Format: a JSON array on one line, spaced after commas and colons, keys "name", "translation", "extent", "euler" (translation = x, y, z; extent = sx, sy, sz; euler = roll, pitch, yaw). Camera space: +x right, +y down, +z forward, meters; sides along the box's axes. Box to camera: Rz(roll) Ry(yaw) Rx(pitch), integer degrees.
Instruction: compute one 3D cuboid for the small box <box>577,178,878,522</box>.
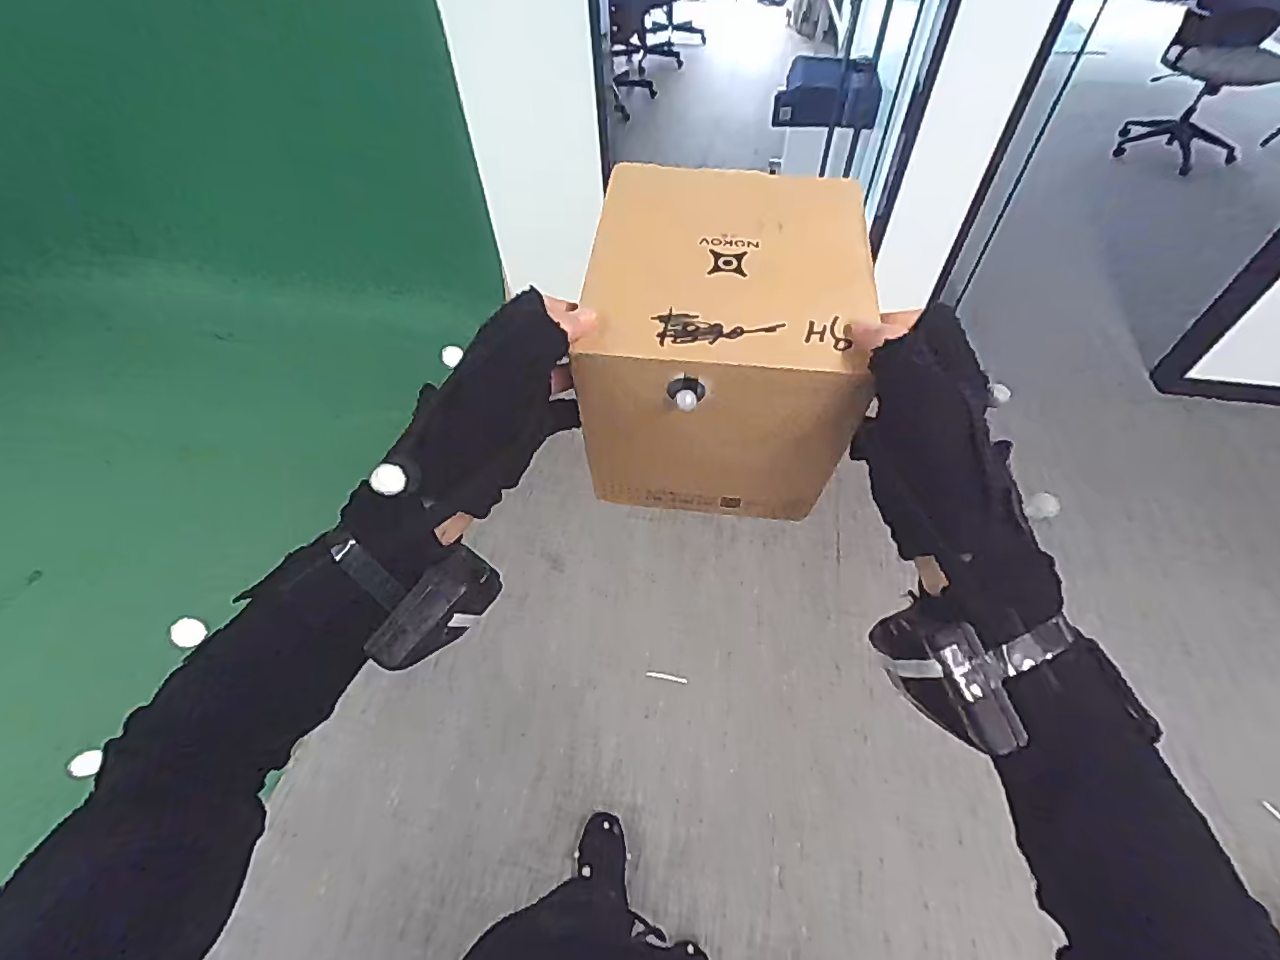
[{"name": "small box", "translation": [0.057, -0.090, 0.401], "extent": [0.168, 0.176, 0.179], "euler": [6, 58, 5]}]
